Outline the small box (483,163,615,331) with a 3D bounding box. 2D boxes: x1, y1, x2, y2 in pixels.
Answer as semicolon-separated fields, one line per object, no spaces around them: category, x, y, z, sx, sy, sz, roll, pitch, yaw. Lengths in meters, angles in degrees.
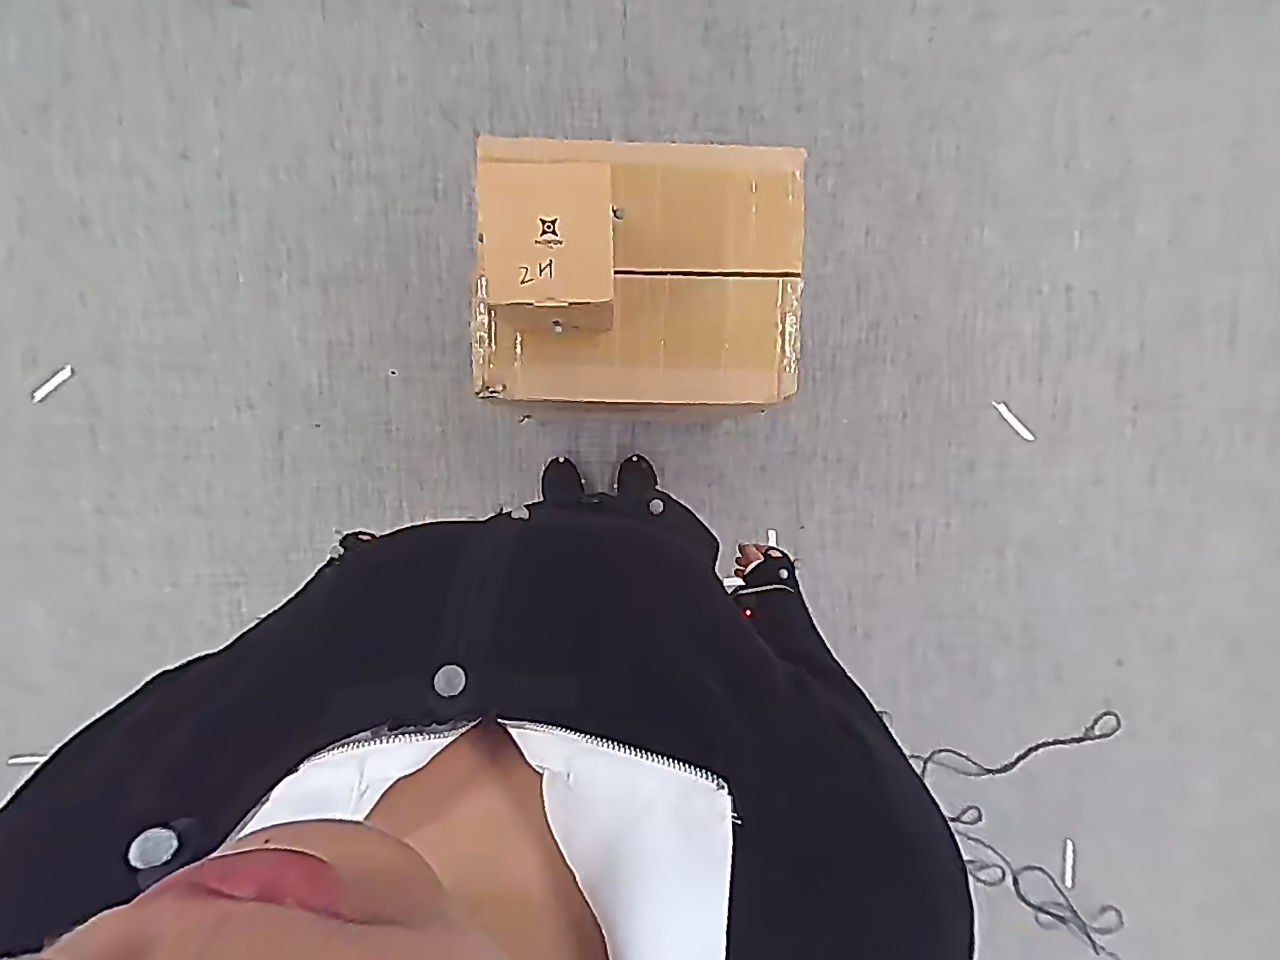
small box;-0.121;-0.319;0.769;0.168;0.176;0.179;-1;94;-3
